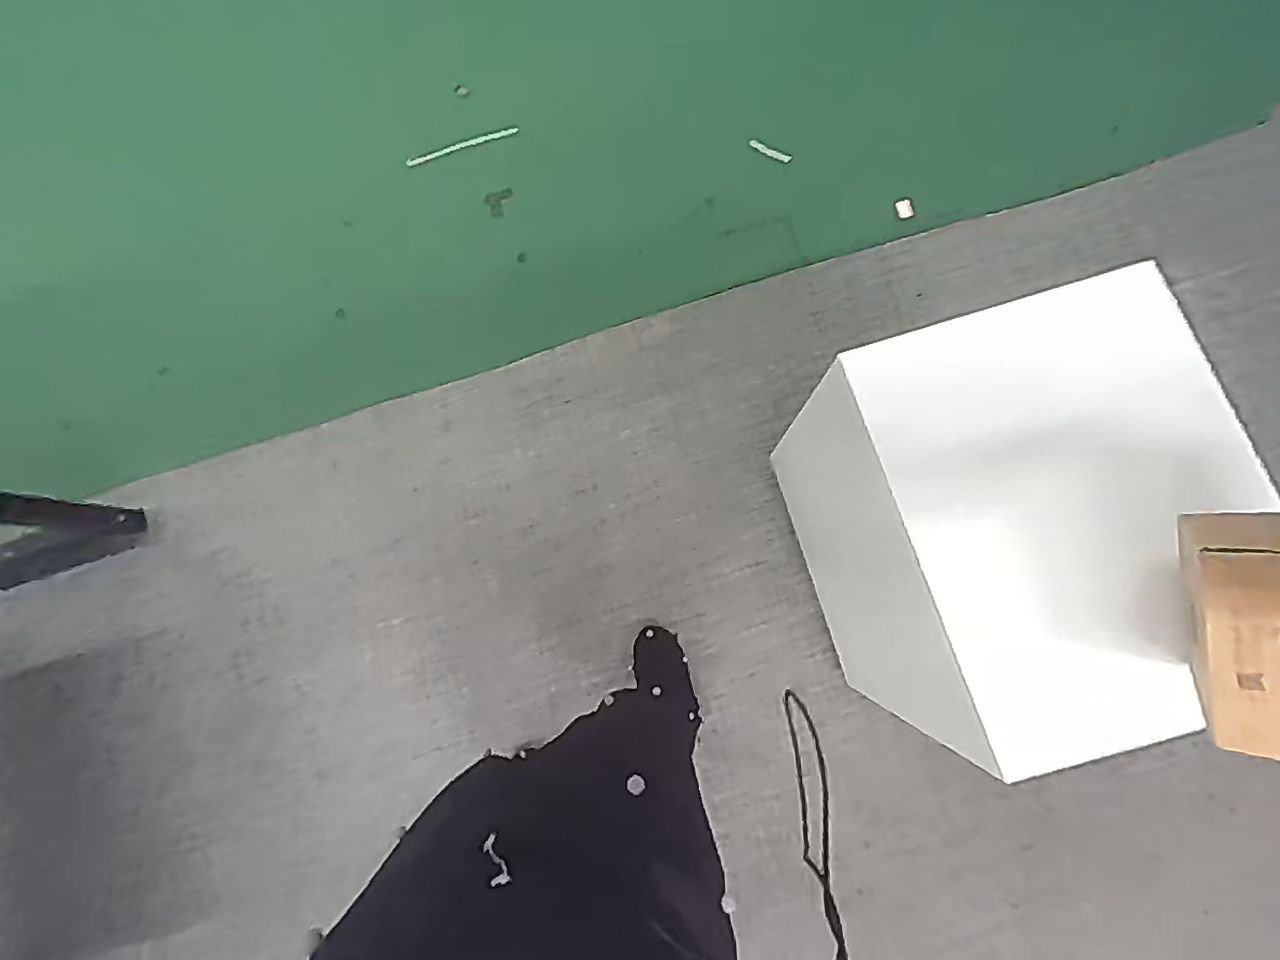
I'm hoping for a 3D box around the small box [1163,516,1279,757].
[{"bbox_3d":[0.562,0.122,0.452,0.176,0.179,0.168,-4,94,40],"label":"small box"}]
